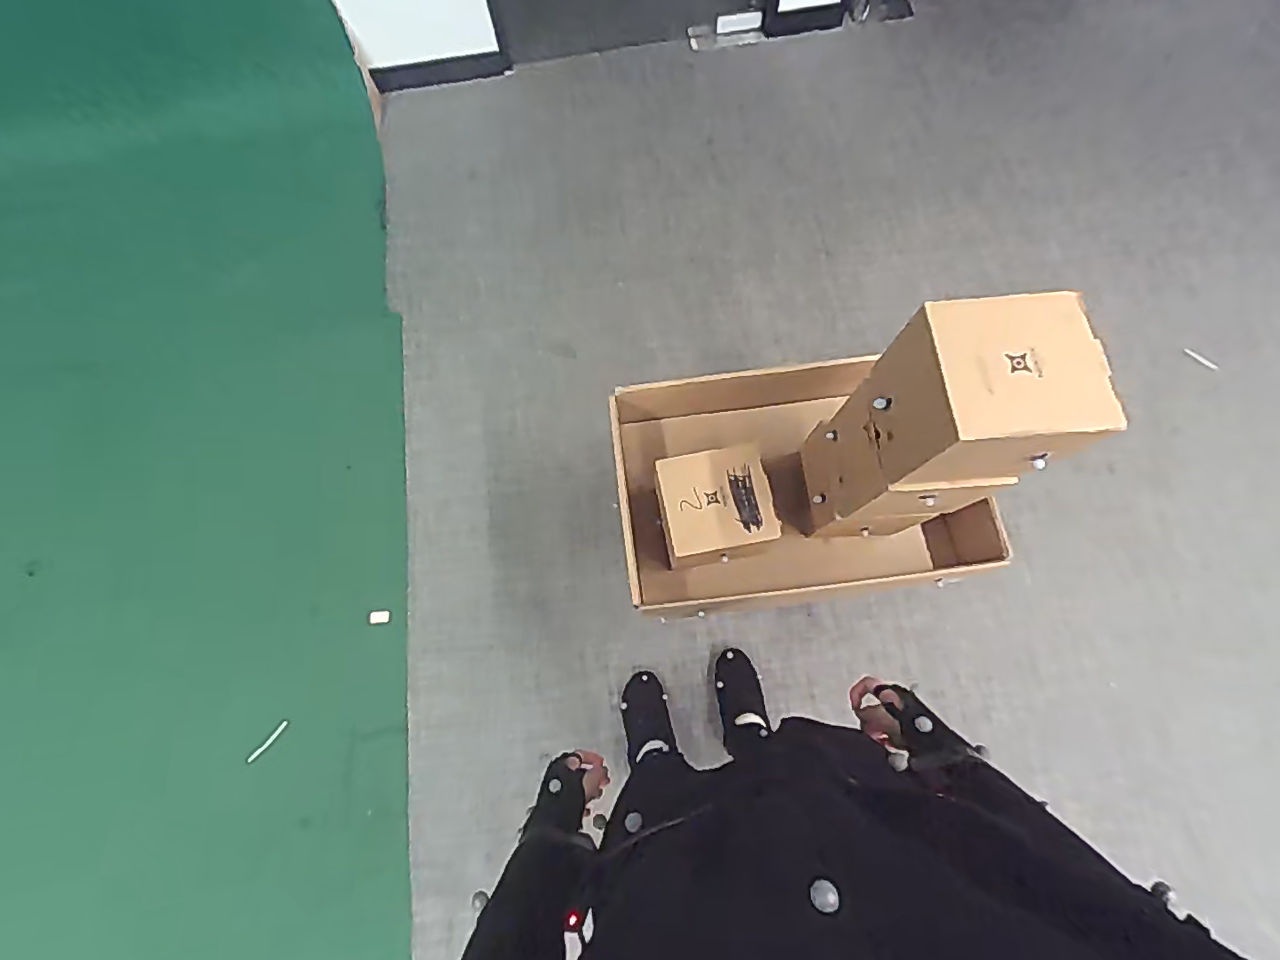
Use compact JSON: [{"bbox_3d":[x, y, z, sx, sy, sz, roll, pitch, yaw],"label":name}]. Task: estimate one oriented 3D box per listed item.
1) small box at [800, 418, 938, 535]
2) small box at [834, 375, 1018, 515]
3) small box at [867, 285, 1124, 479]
[{"bbox_3d":[0.390,-0.001,0.952,0.168,0.176,0.179,-3,72,1],"label":"small box"},{"bbox_3d":[0.399,-0.049,0.795,0.179,0.176,0.168,-4,73,0],"label":"small box"},{"bbox_3d":[0.398,-0.106,0.642,0.179,0.176,0.168,-4,72,1],"label":"small box"}]
